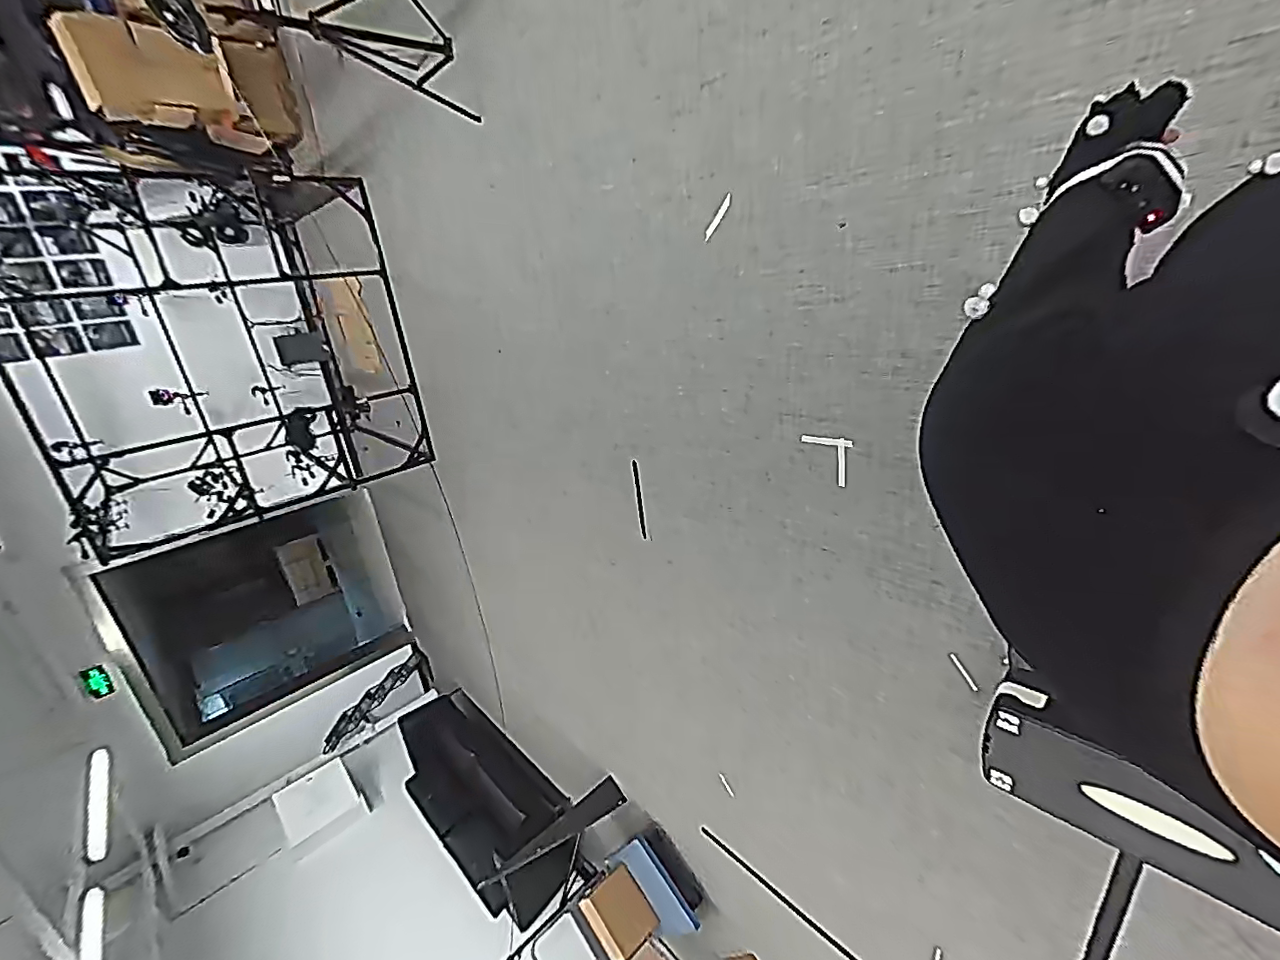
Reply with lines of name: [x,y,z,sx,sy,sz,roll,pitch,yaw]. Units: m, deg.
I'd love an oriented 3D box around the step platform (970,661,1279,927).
step platform: [1.176,0.707,1.271,0.684,0.204,0.286,15,120,47]
